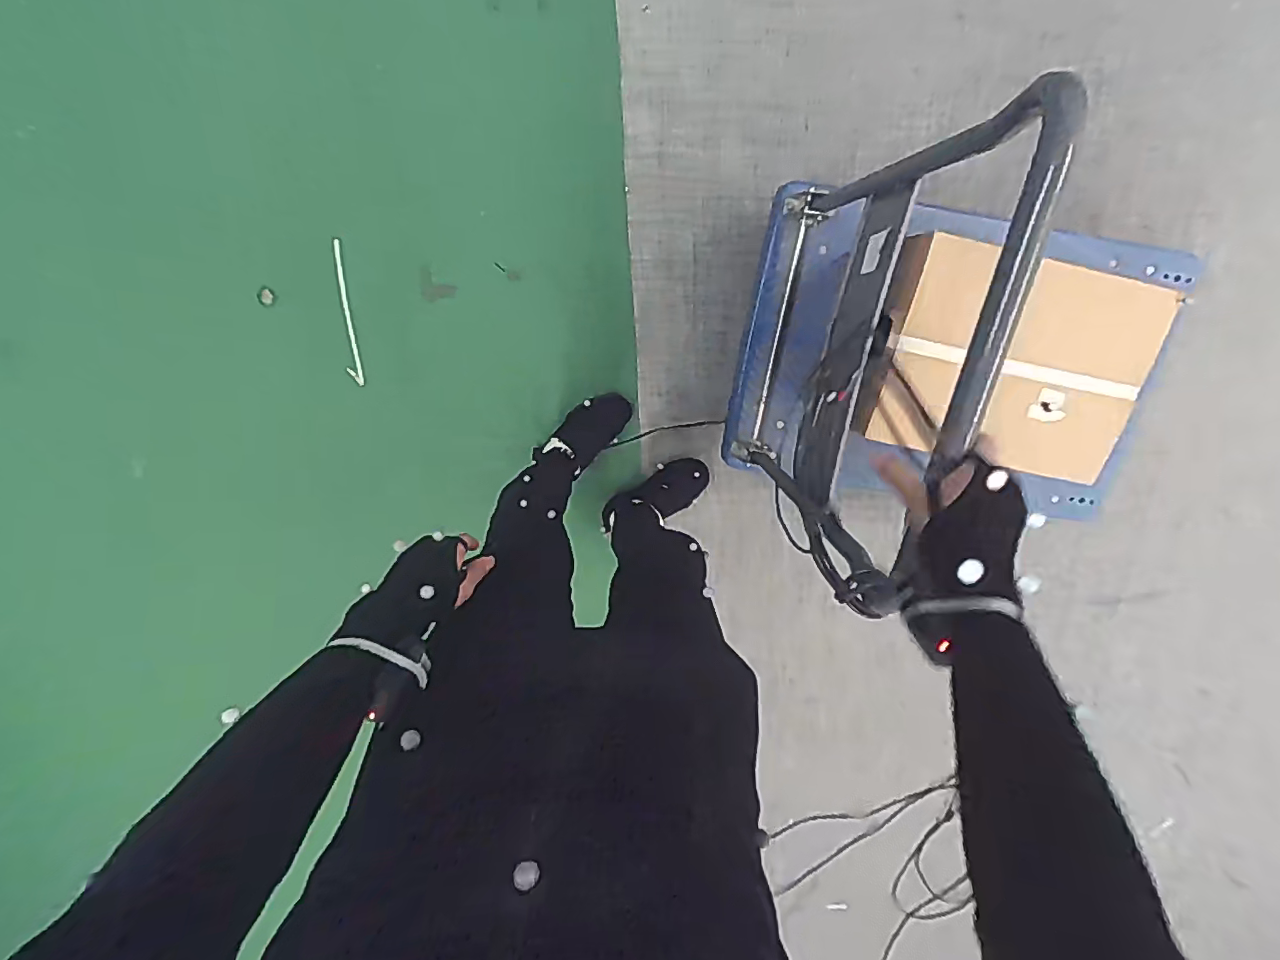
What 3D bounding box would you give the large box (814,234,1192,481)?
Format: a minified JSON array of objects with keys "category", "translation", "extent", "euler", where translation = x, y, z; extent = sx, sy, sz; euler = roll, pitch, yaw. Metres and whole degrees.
[{"category":"large box","translation":[0.584,-0.218,0.963],"extent":[0.408,0.320,0.320],"euler":[11,108,-5]}]
